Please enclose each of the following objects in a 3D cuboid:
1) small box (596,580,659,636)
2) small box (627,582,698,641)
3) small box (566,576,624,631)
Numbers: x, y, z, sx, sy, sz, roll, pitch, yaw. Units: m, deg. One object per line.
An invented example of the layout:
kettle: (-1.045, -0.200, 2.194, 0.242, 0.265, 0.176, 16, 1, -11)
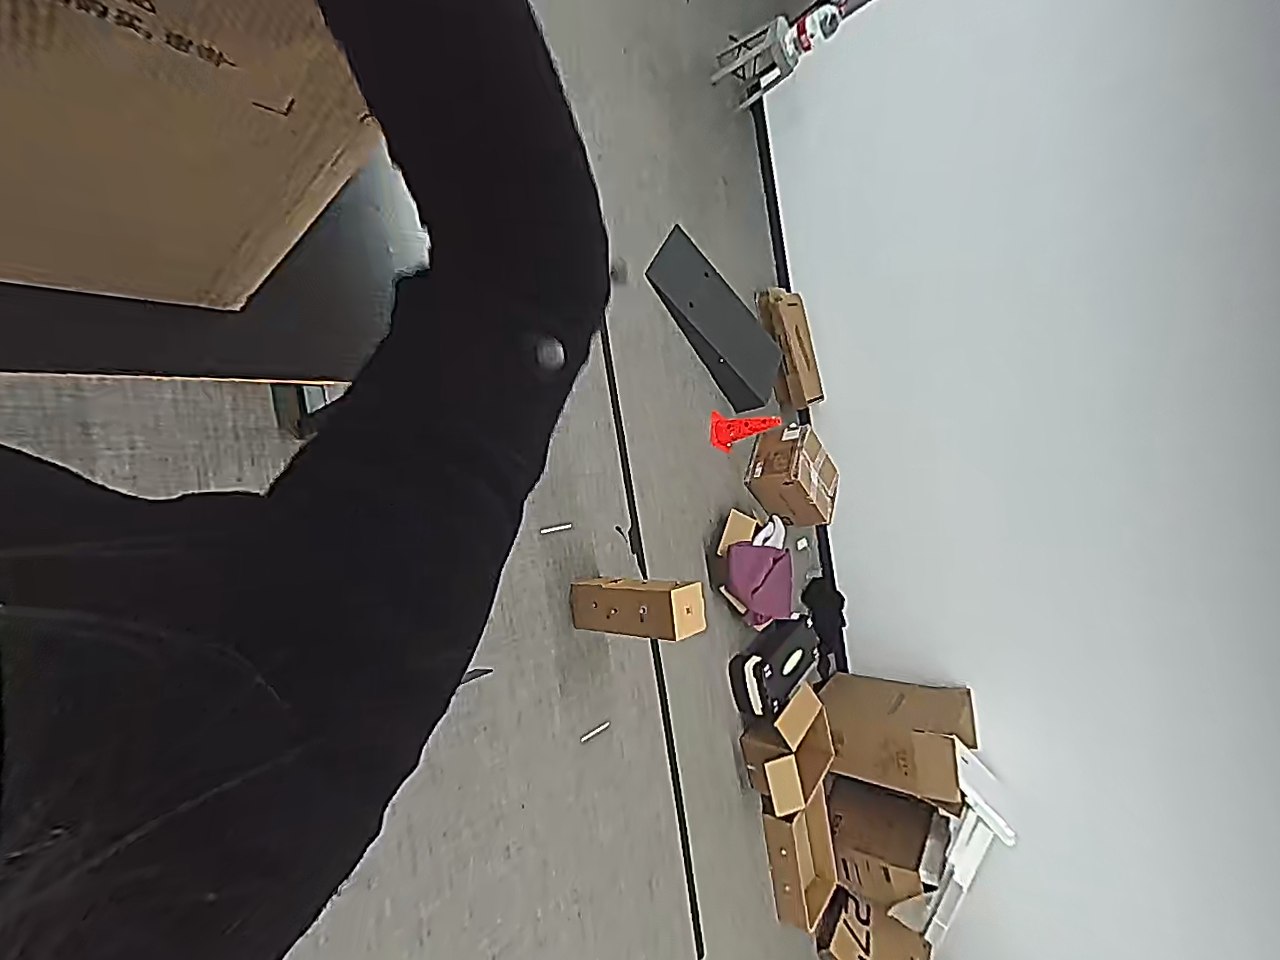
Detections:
small box: (-0.040, 0.459, 1.970, 0.179, 0.176, 0.168, -3, 86, -50)
small box: (0.075, 0.444, 1.855, 0.179, 0.176, 0.168, -3, 86, -49)
small box: (-0.169, 0.469, 2.071, 0.168, 0.176, 0.179, -3, 87, -50)
